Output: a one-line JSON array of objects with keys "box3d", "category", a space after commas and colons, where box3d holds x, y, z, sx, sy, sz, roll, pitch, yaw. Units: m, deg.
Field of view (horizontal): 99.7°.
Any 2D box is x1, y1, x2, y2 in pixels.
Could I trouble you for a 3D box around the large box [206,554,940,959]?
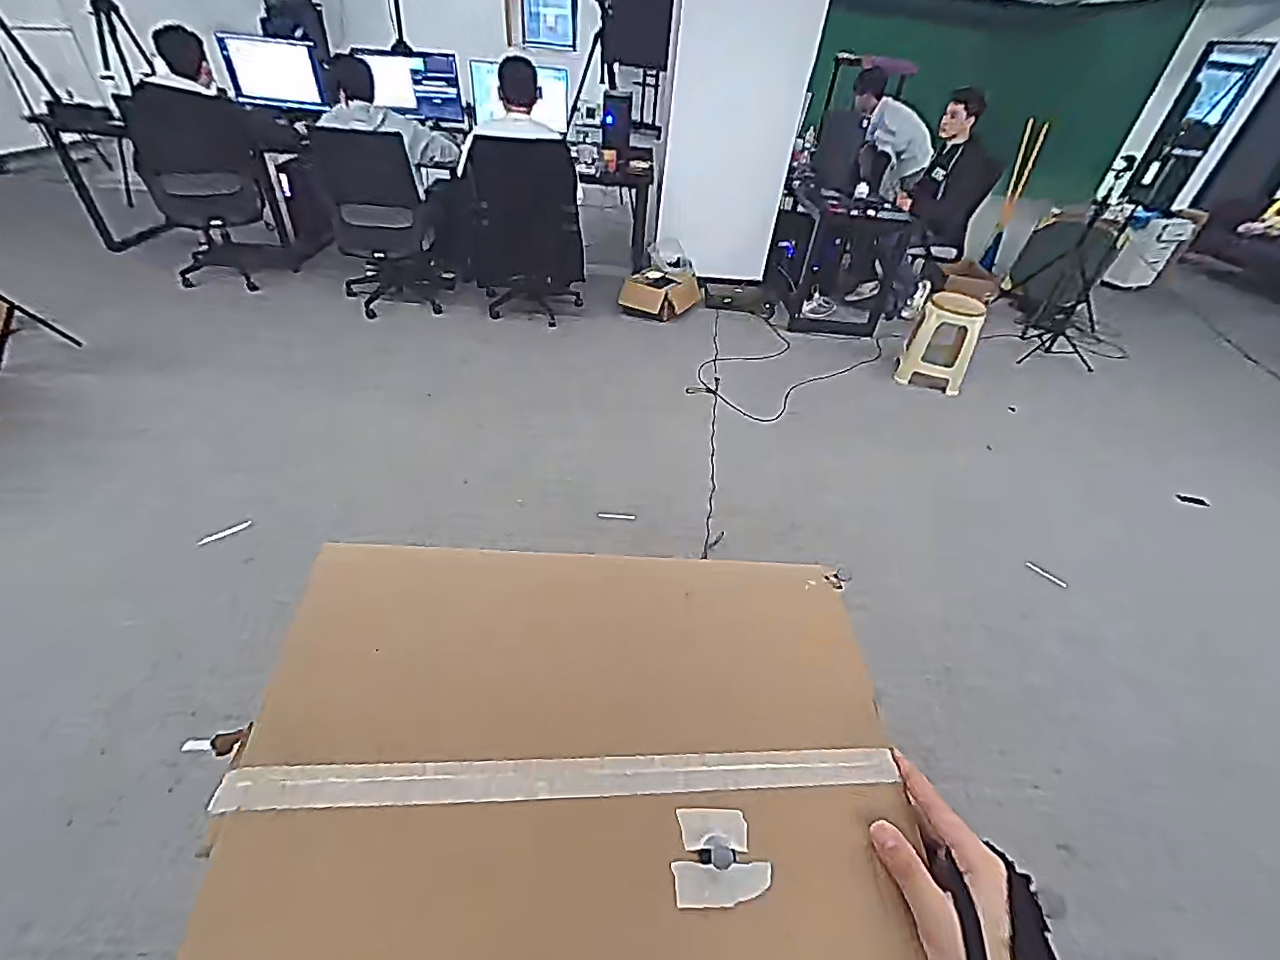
[{"box3d": [-0.054, 0.278, 0.460, 0.408, 0.320, 0.320, 4, 52, -11], "category": "large box"}]
